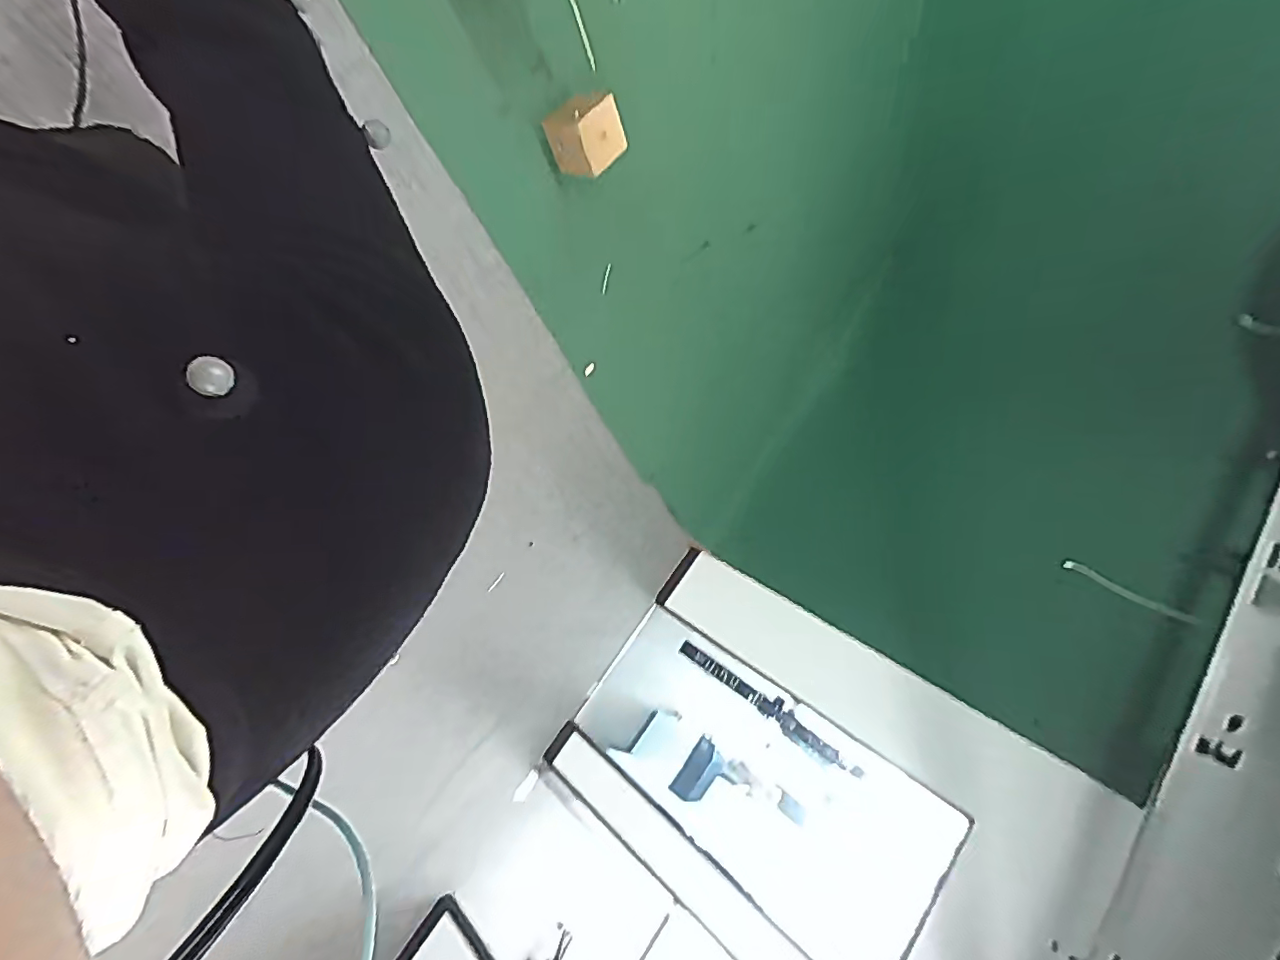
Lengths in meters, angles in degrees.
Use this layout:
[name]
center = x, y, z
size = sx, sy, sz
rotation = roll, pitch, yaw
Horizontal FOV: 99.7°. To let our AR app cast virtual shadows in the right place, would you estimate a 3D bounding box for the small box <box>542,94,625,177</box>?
[small box]
center = -0.182, -1.122, 1.754
size = 0.179, 0.176, 0.168
rotation = -51, 146, -15
